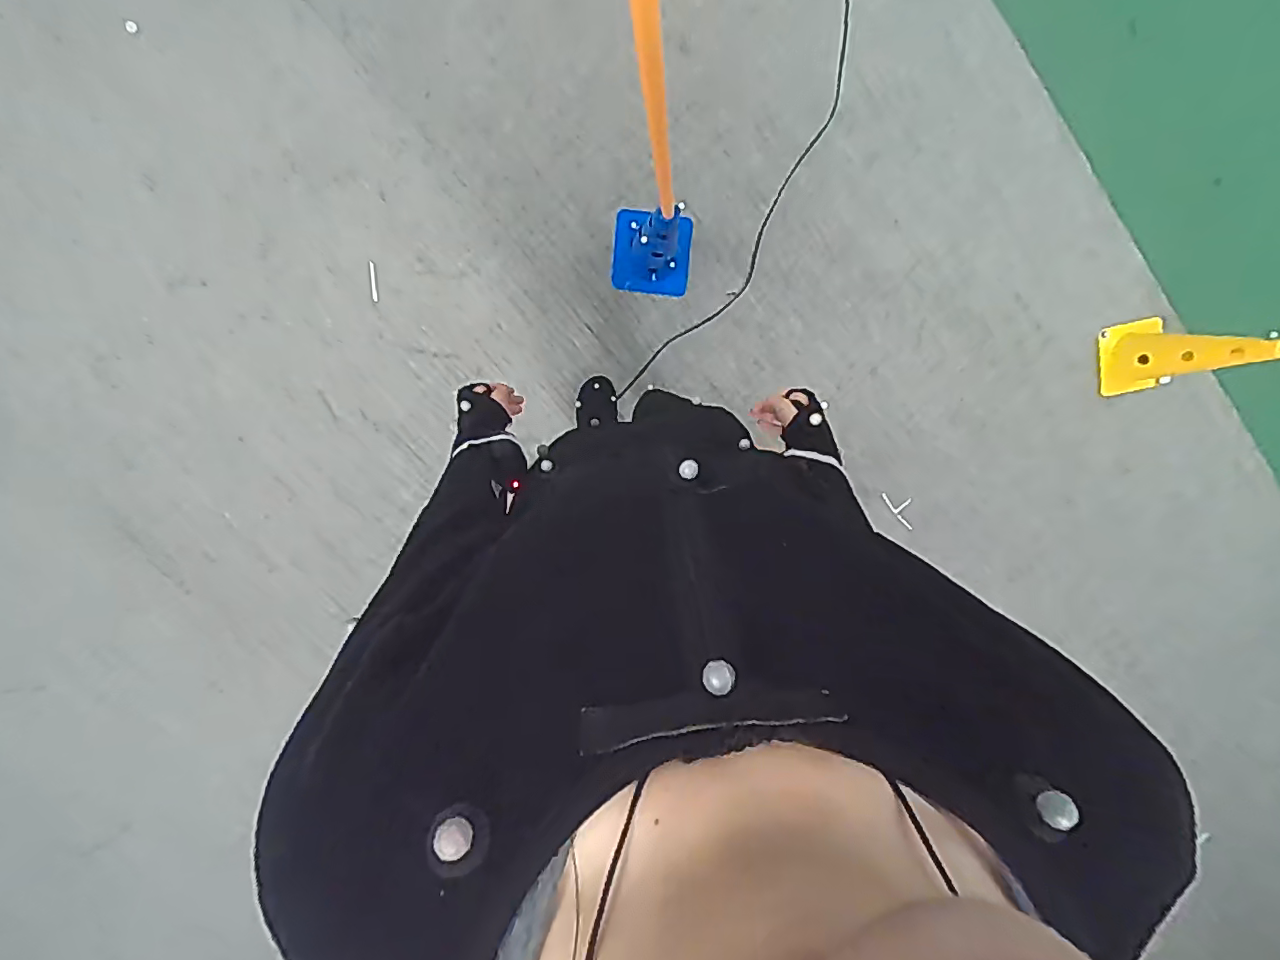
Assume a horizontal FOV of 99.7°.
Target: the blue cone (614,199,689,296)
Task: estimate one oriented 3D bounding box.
[{"bbox_3d":[0.038,-0.545,1.227,0.193,0.380,0.192,3,100,-4],"label":"blue cone"}]
